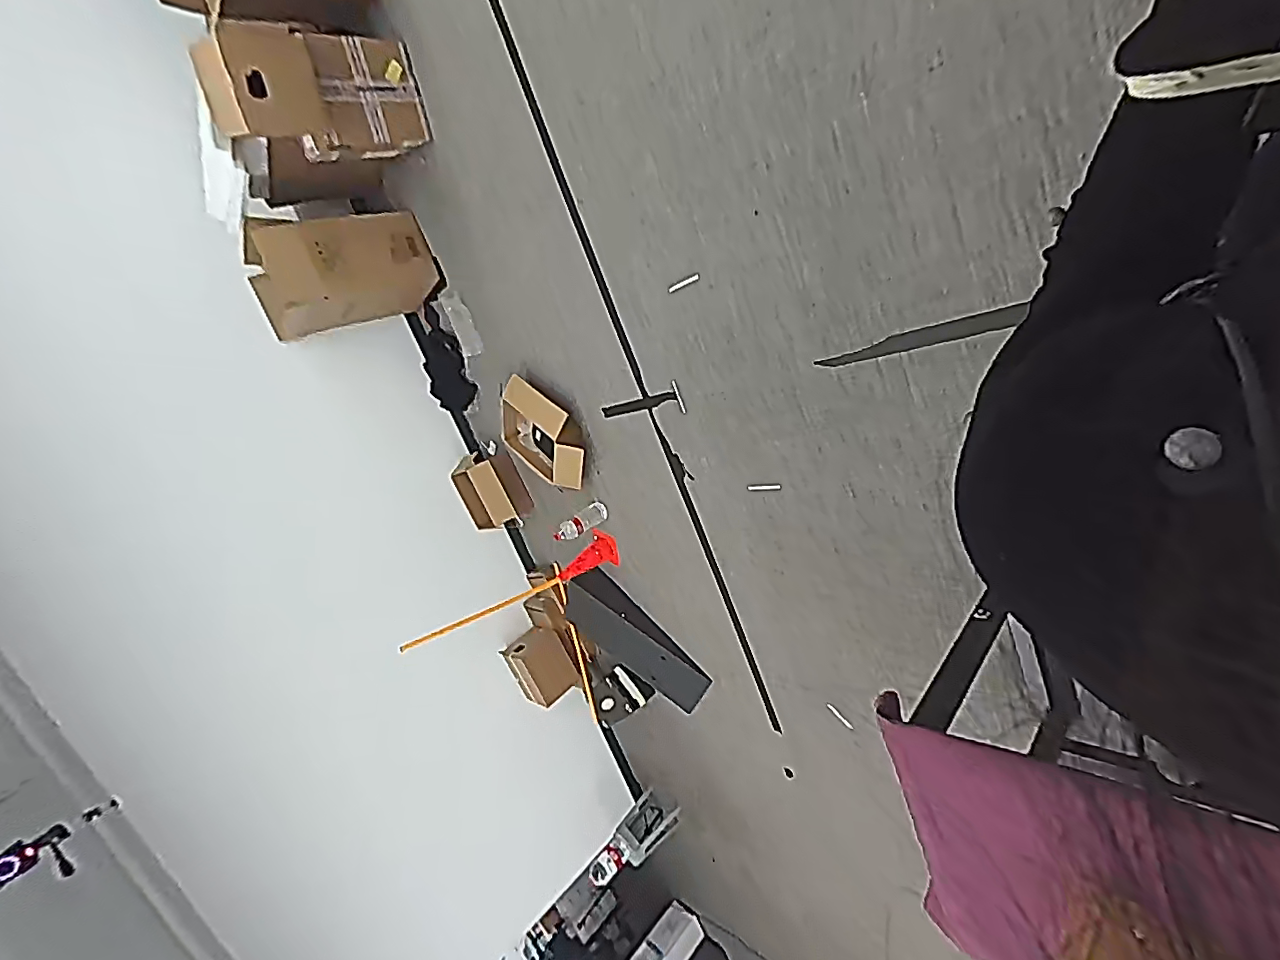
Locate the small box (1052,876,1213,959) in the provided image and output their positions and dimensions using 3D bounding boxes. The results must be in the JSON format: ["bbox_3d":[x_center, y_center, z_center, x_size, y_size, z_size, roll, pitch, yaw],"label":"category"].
[{"bbox_3d":[0.760,0.779,0.835,0.168,0.176,0.179,3,118,49],"label":"small box"}]
